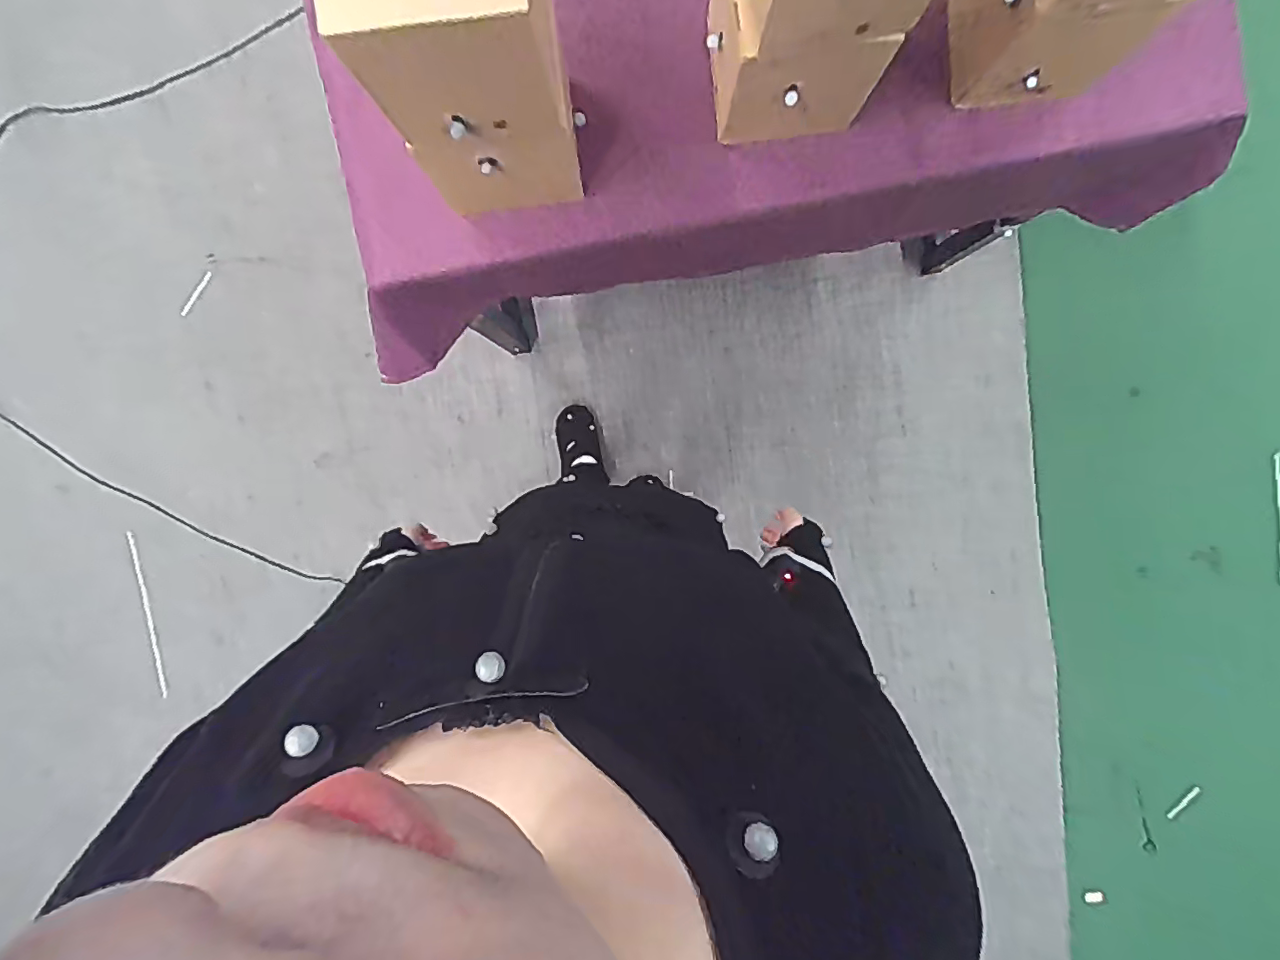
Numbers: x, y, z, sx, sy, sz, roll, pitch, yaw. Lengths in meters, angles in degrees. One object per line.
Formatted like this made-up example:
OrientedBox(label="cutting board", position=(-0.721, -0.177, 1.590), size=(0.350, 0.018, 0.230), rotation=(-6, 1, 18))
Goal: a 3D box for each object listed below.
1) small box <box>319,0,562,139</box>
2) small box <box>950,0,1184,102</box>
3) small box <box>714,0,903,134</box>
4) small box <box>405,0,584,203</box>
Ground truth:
OrientedBox(label="small box", position=(-0.170, -0.449, 0.489), size=(0.168, 0.176, 0.179), rotation=(-5, 95, 1))
OrientedBox(label="small box", position=(0.492, -0.593, 0.639), size=(0.168, 0.176, 0.179), rotation=(-5, 95, 1))
OrientedBox(label="small box", position=(0.185, -0.544, 0.643), size=(0.179, 0.176, 0.168), rotation=(-6, 94, 1))
OrientedBox(label="small box", position=(-0.170, -0.457, 0.652), size=(0.179, 0.176, 0.168), rotation=(-7, 94, 0))
